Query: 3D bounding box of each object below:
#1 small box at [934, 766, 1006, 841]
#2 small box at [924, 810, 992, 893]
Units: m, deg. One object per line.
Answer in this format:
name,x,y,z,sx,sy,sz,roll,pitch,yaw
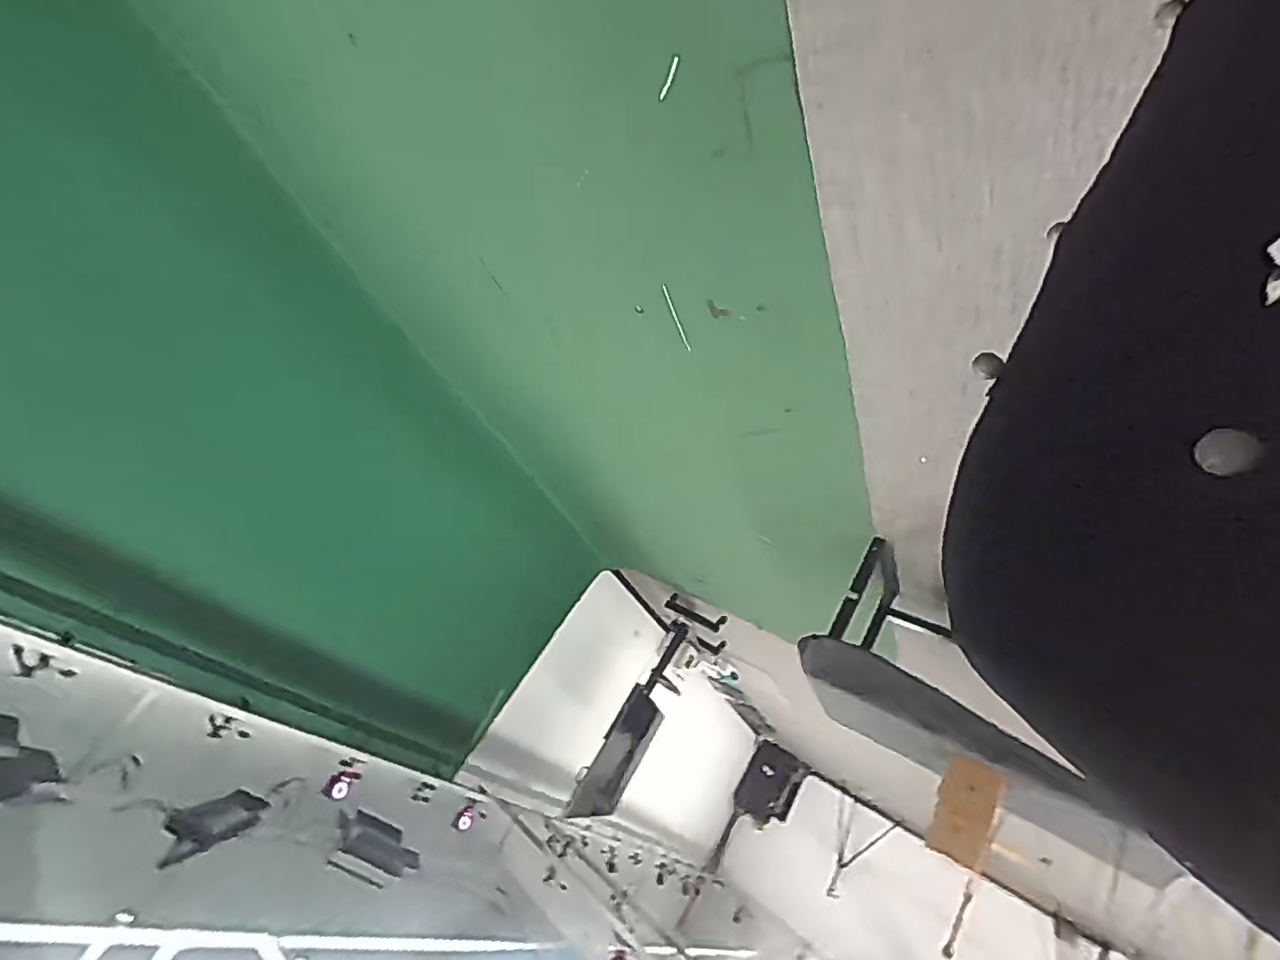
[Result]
small box,1.192,1.162,1.948,0.179,0.176,0.168,16,151,45
small box,1.111,1.291,1.887,0.168,0.176,0.179,16,151,41
